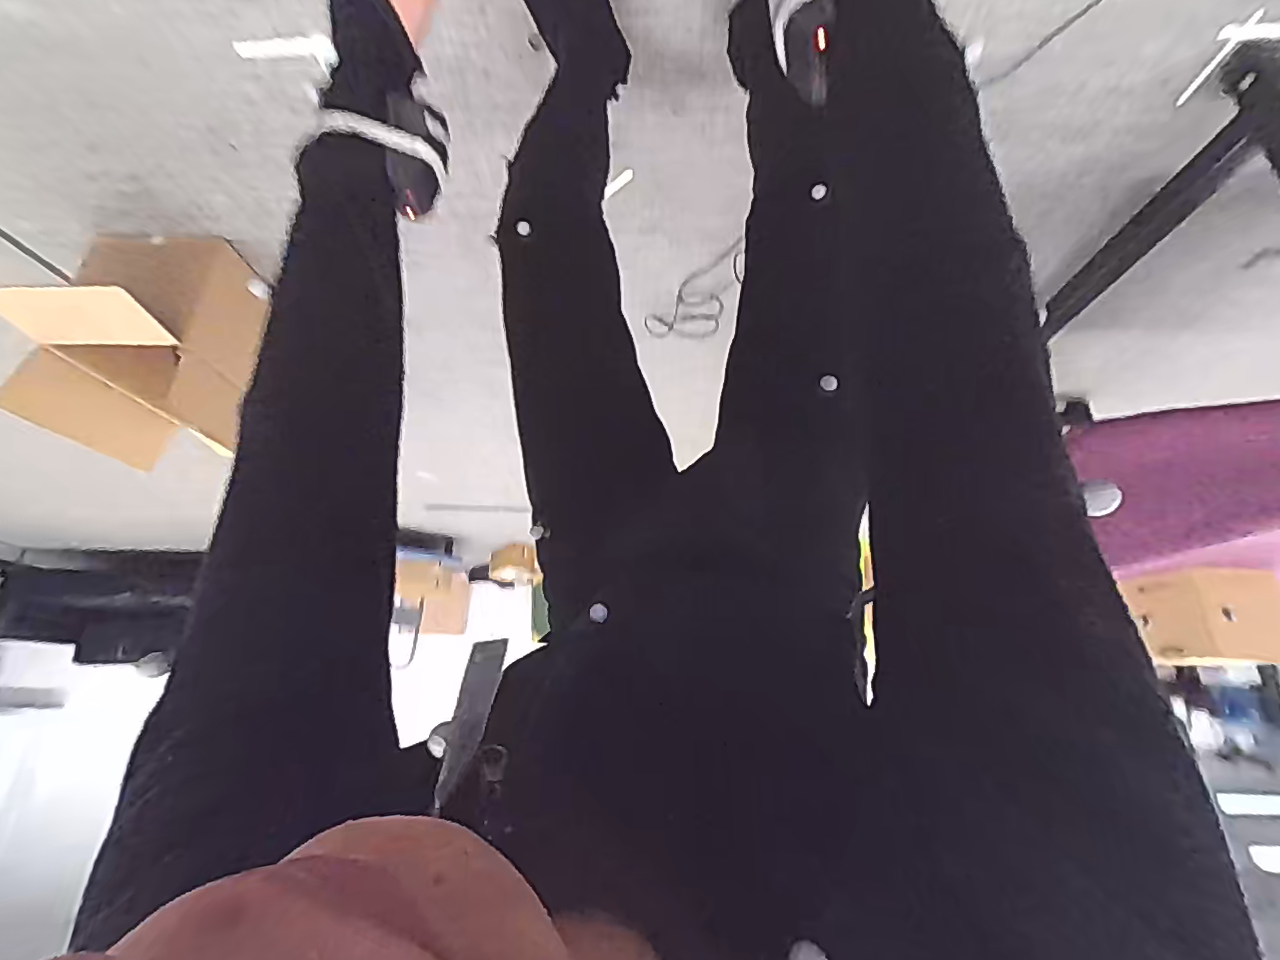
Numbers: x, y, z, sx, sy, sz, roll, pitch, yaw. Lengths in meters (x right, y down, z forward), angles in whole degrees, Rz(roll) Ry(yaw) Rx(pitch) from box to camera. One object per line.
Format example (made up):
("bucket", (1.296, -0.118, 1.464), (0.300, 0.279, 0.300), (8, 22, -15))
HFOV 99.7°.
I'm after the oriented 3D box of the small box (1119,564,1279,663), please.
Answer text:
("small box", (1.106, 0.263, 1.060), (0.179, 0.176, 0.168), (1, 159, -2))
